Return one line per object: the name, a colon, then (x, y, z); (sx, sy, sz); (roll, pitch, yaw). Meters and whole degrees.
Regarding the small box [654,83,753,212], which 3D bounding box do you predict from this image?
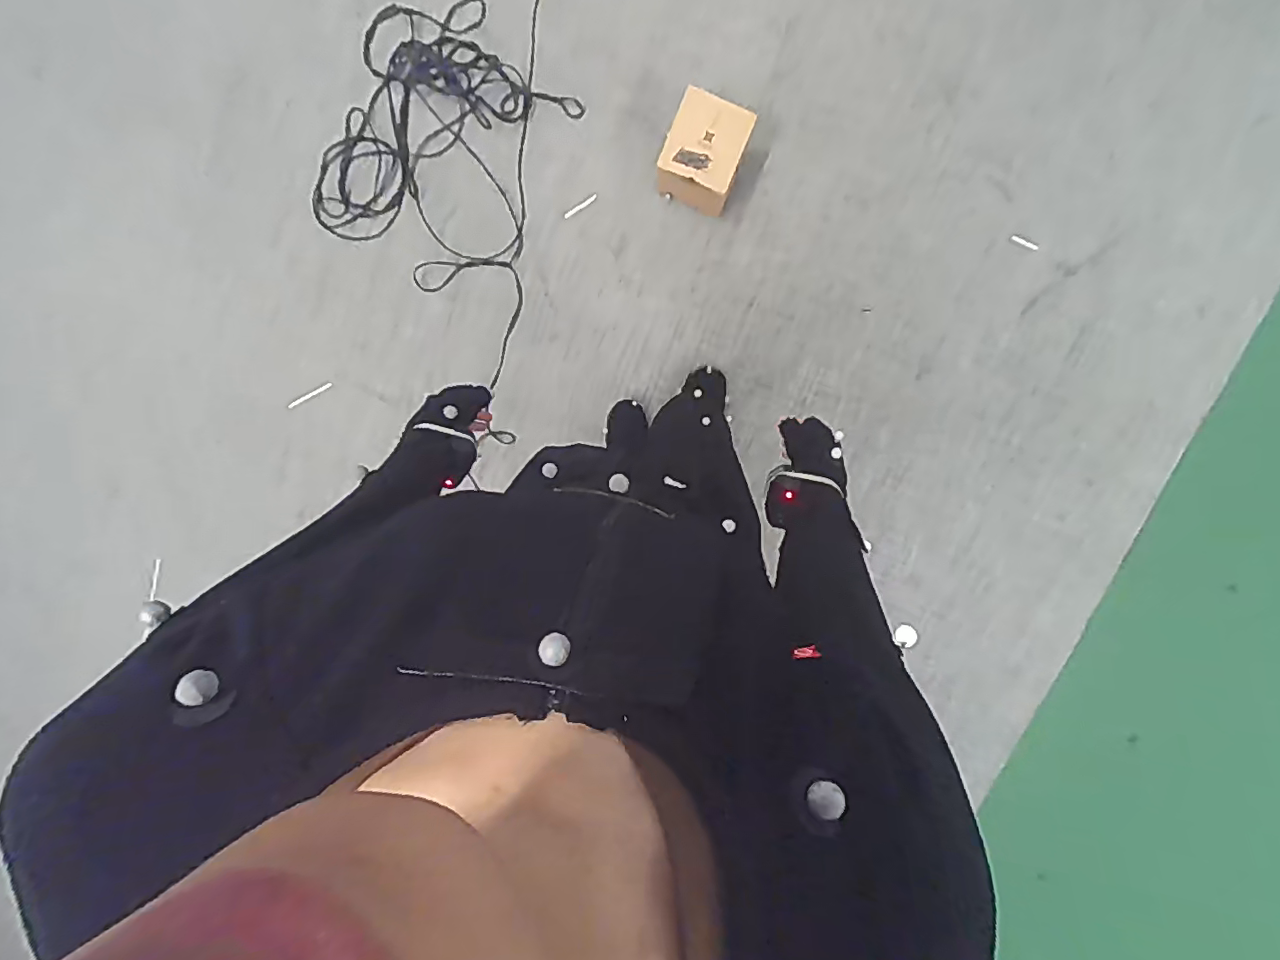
small box: (0.142, -0.752, 1.247); (0.168, 0.176, 0.179); (23, 100, -2)
